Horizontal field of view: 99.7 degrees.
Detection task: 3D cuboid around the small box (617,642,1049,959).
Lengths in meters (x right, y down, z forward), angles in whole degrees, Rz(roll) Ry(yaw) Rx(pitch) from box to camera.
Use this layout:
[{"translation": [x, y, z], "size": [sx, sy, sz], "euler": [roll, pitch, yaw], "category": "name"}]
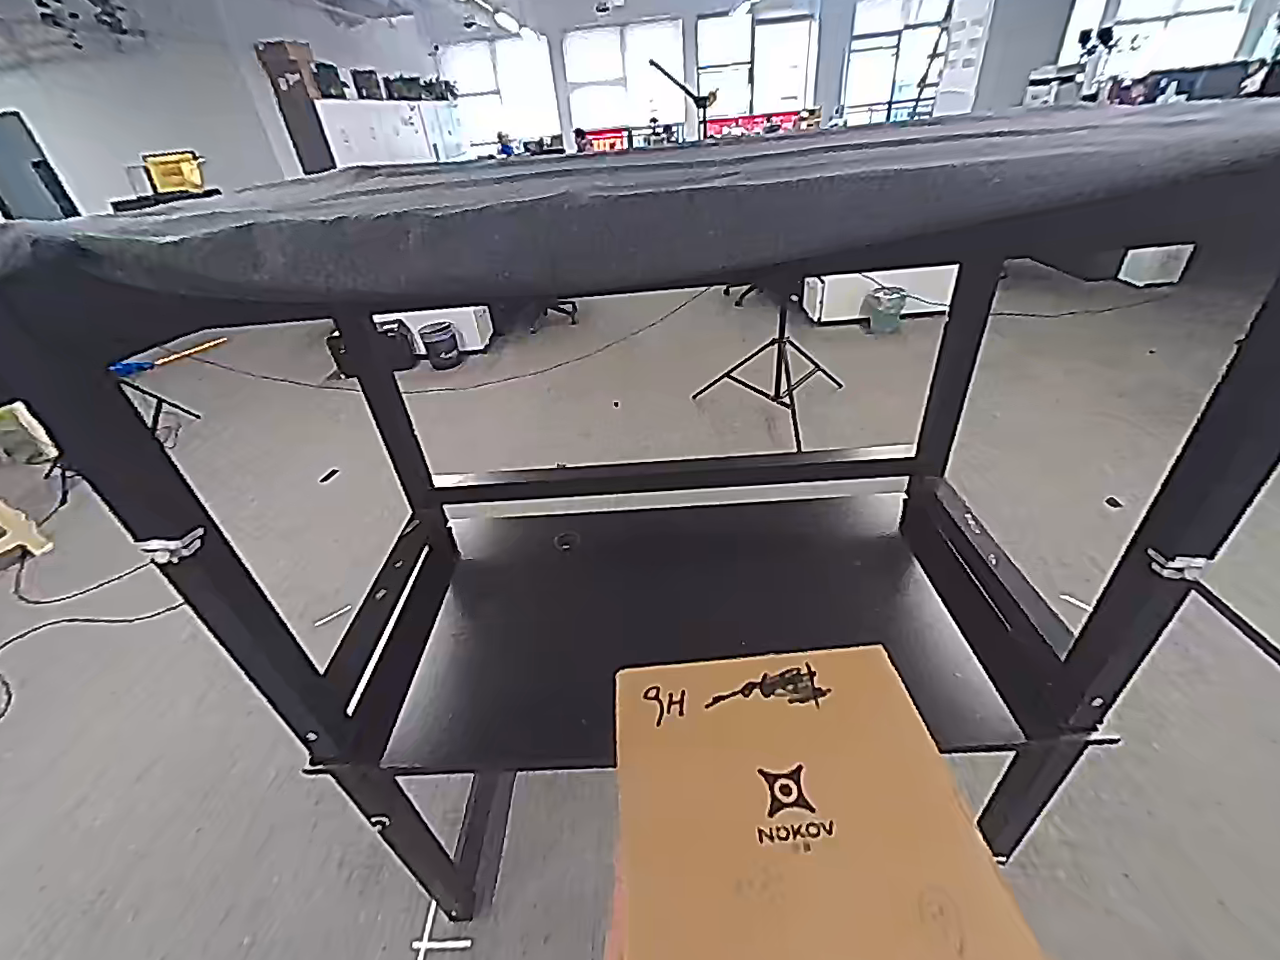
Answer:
[{"translation": [0.077, 0.218, 0.300], "size": [0.168, 0.176, 0.179], "euler": [-4, 38, -1], "category": "small box"}]
